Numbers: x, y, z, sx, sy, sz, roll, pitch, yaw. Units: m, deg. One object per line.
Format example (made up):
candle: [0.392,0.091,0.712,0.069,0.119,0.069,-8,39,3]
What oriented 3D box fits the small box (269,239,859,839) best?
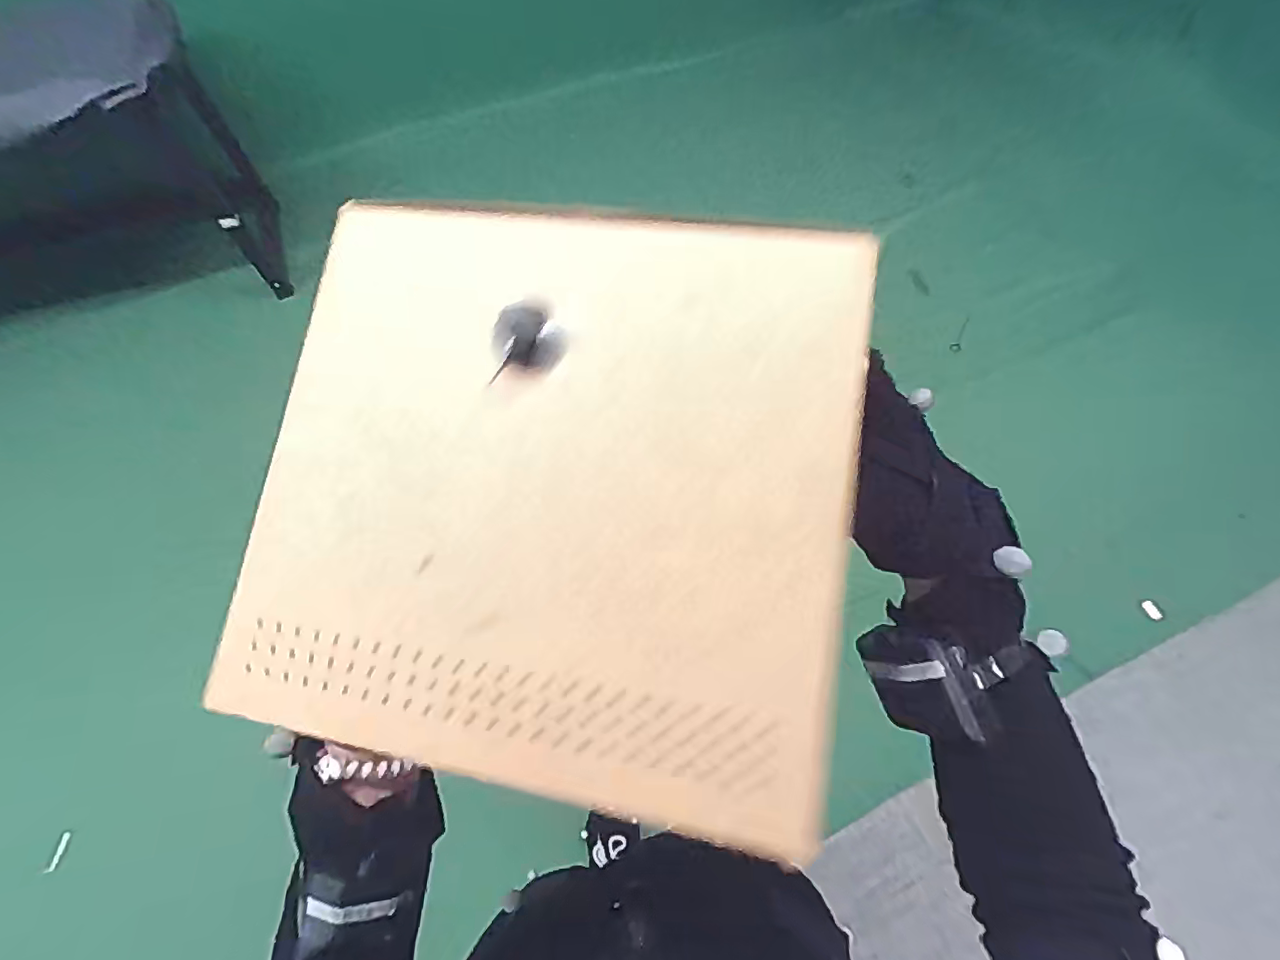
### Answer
small box: [-0.018,0.020,0.242,0.179,0.168,0.176,10,86,12]
